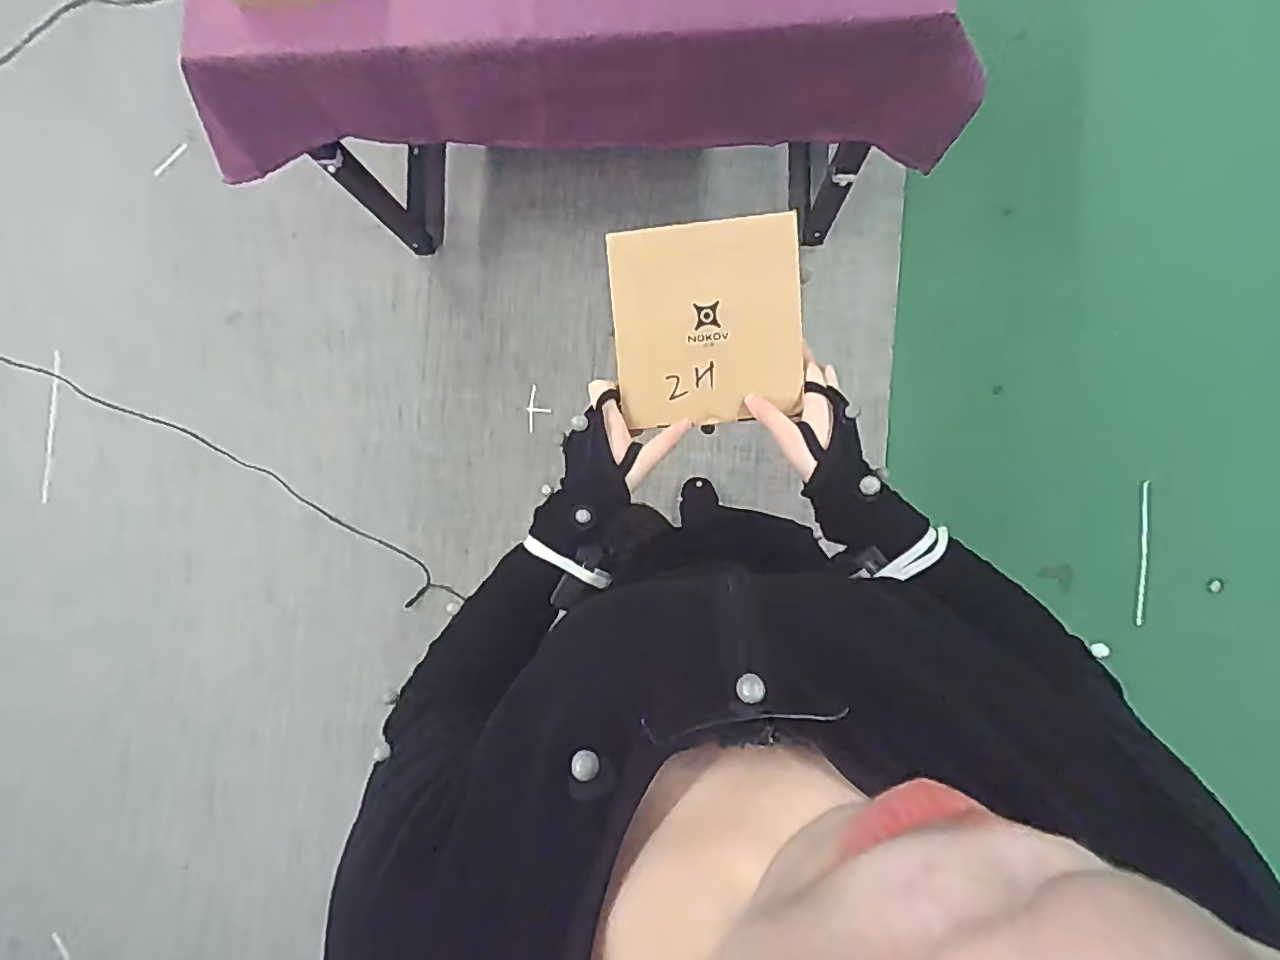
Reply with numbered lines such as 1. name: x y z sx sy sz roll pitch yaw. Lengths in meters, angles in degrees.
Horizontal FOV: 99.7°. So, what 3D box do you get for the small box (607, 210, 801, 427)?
1. small box: 0.063 -0.150 0.554 0.168 0.176 0.179 -4 99 6
